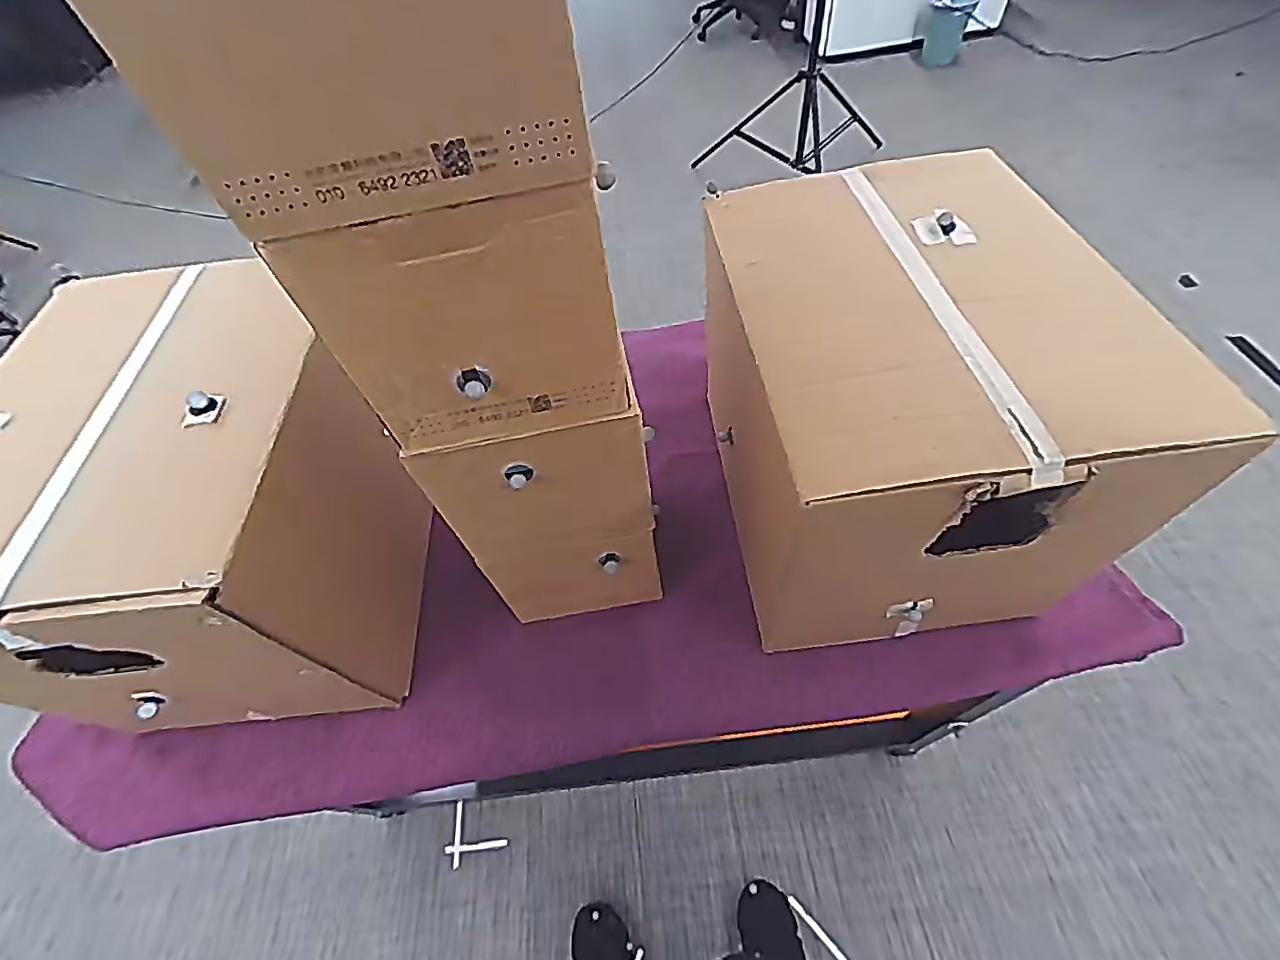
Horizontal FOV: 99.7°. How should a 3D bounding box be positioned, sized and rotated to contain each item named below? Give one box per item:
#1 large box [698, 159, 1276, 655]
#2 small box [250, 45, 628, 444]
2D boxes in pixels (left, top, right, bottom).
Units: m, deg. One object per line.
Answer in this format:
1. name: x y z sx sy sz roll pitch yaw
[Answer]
1. large box: 0.253 -0.074 0.582 0.320 0.320 0.408 -8 53 1
2. small box: -0.107 -0.151 0.363 0.168 0.176 0.179 -12 55 -2
